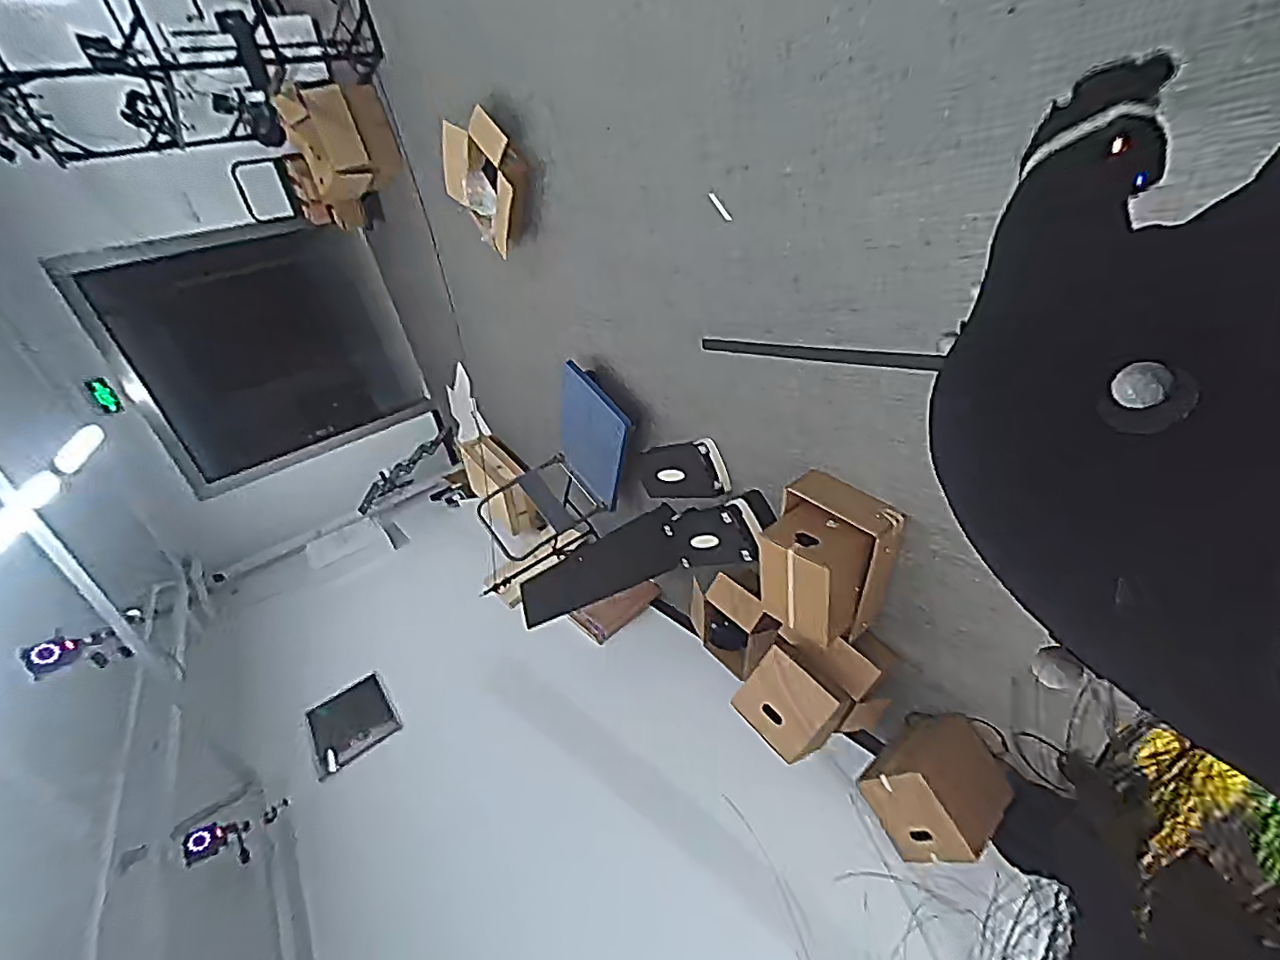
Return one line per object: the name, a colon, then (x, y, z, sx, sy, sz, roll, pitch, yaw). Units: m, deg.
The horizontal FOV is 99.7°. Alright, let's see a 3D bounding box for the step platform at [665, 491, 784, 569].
step platform: (0.393, 0.270, 2.713, 0.286, 0.204, 0.684, 62, 151, -2)
